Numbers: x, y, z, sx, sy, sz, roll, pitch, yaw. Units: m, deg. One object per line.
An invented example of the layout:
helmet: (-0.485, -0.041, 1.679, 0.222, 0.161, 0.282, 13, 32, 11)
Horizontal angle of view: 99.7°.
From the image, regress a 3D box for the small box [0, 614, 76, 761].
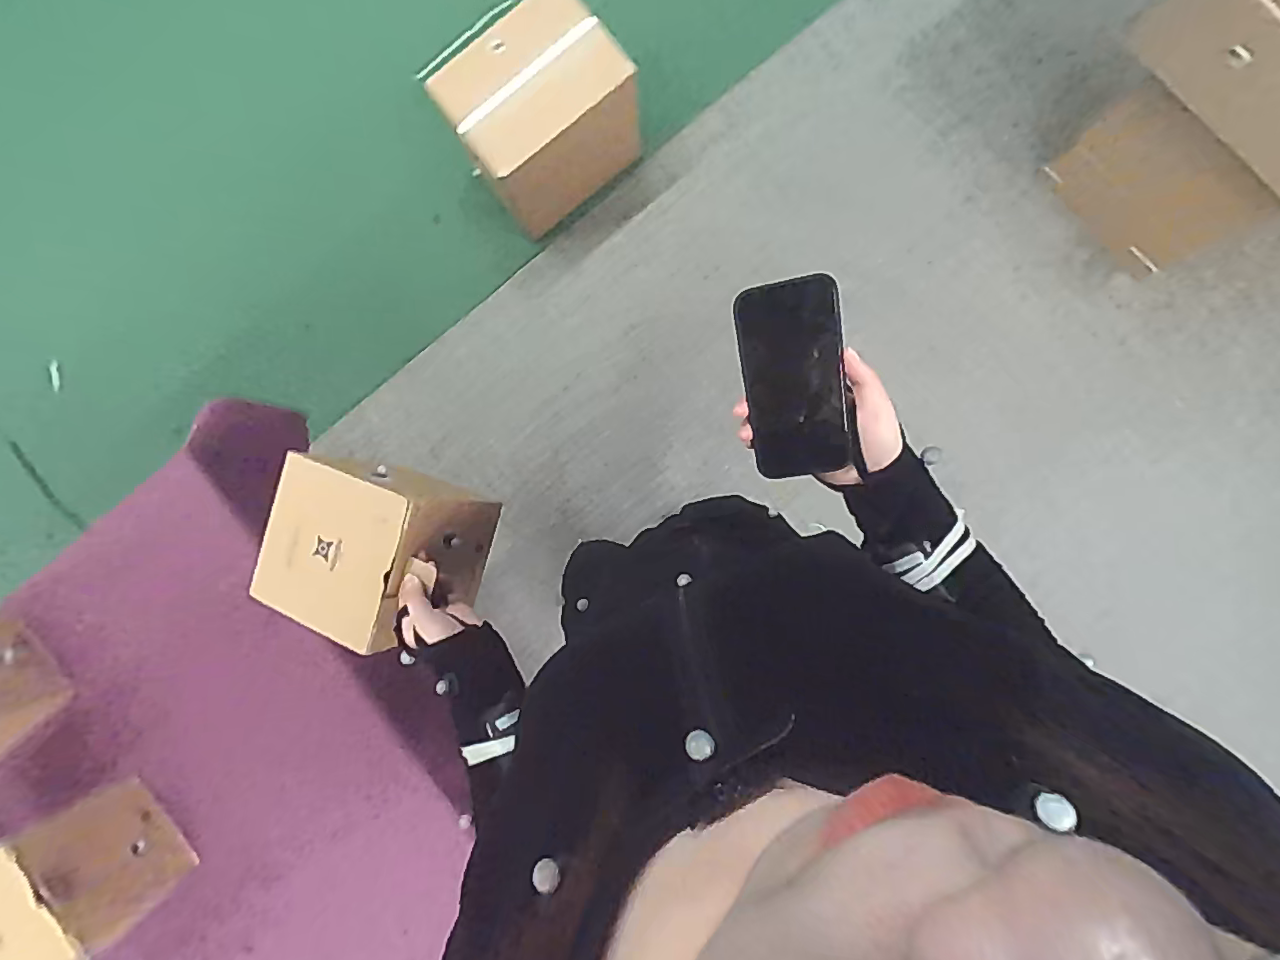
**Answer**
small box: (-0.964, 0.313, 0.745, 0.179, 0.176, 0.168, -40, 87, 1)

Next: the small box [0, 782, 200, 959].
small box: (-0.761, 0.557, 0.724, 0.179, 0.176, 0.168, -42, 86, 0)
